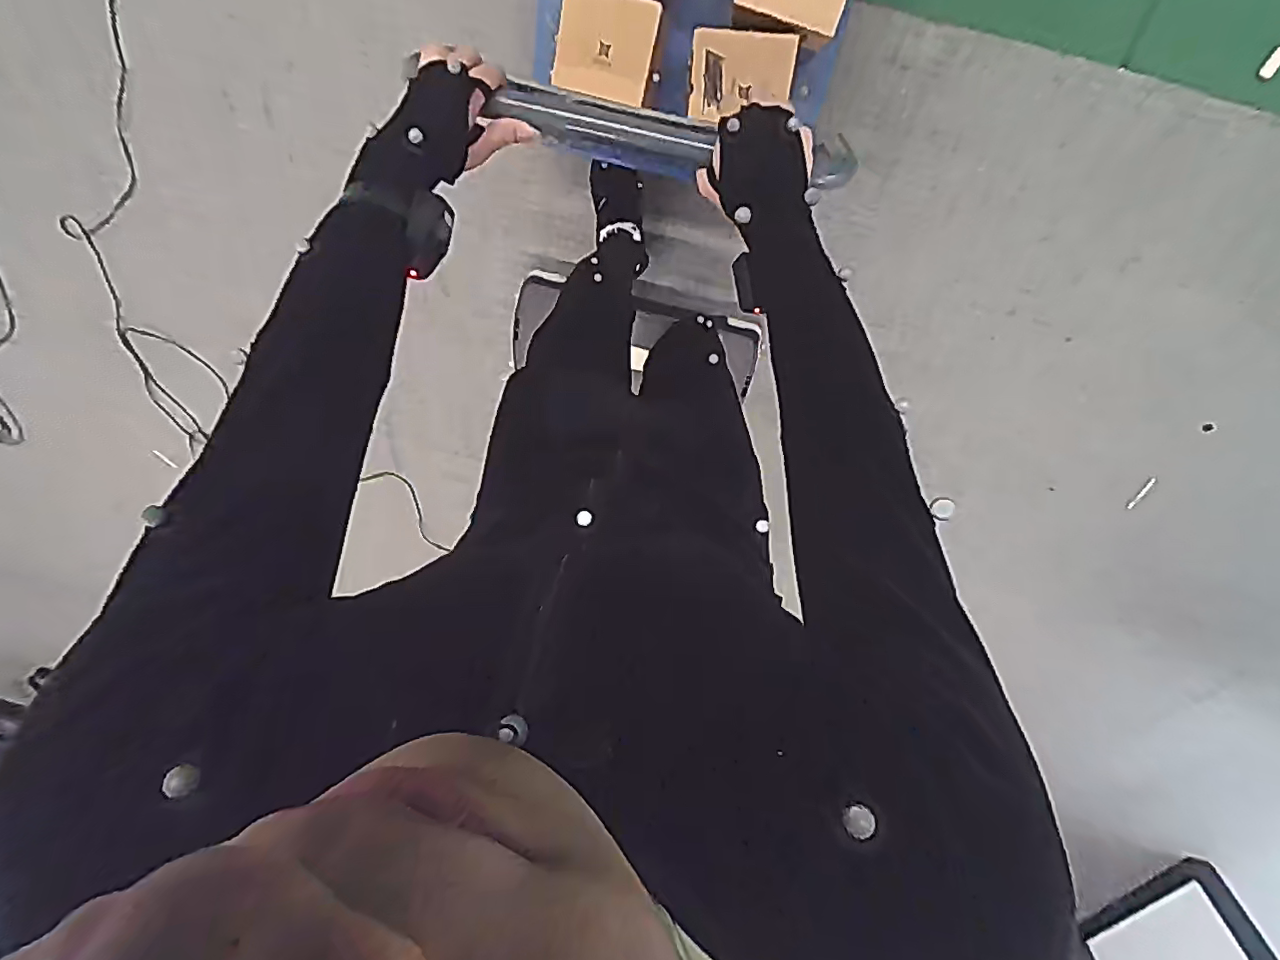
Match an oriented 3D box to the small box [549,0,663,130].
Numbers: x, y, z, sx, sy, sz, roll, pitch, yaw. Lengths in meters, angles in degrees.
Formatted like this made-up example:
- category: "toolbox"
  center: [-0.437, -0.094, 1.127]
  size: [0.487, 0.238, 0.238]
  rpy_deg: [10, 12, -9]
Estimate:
- category: "small box"
  center: [-0.057, -0.769, 0.995]
  size: [0.168, 0.176, 0.179]
  rpy_deg: [15, 121, -3]
